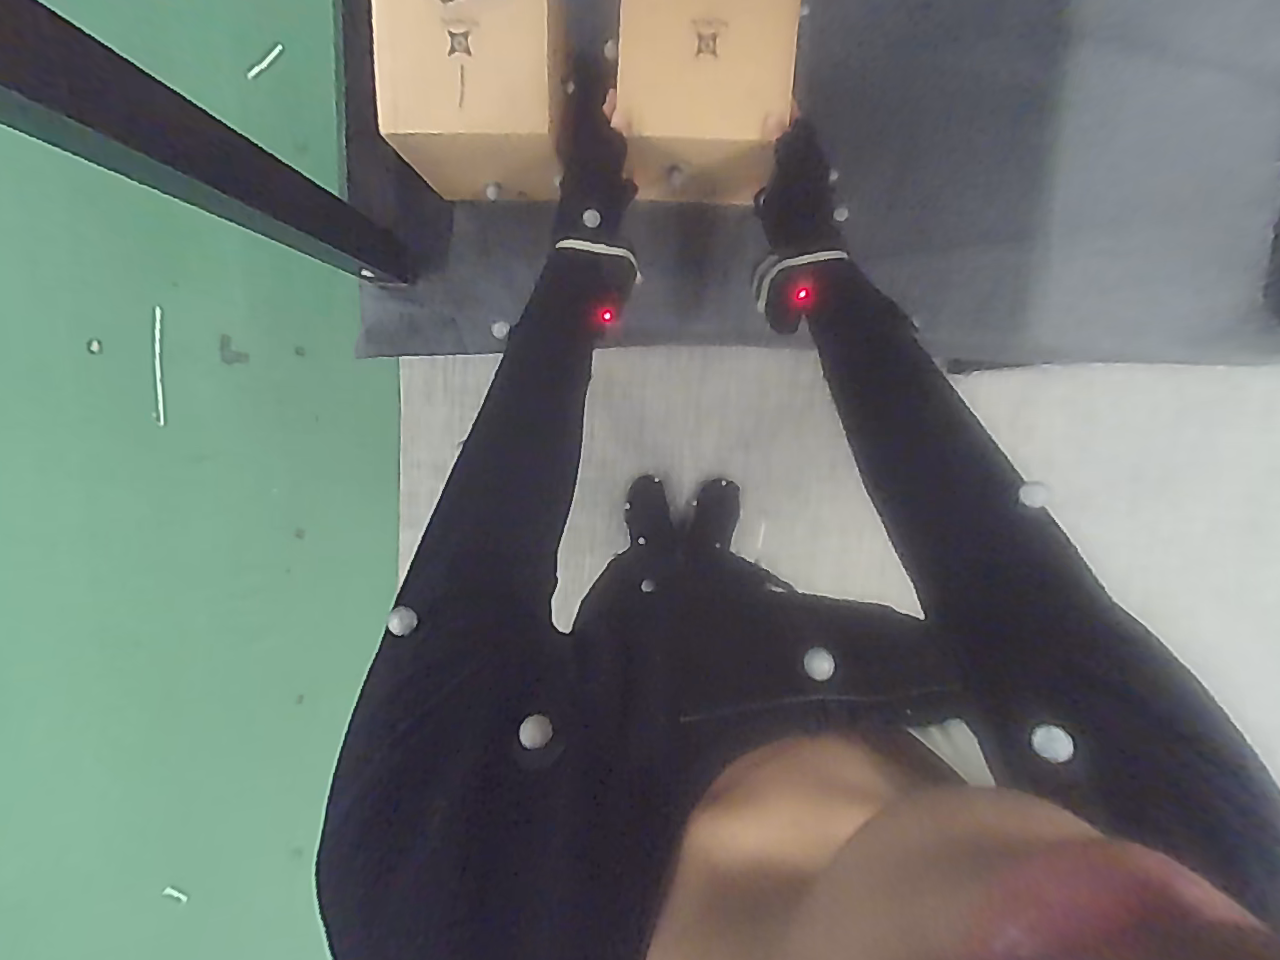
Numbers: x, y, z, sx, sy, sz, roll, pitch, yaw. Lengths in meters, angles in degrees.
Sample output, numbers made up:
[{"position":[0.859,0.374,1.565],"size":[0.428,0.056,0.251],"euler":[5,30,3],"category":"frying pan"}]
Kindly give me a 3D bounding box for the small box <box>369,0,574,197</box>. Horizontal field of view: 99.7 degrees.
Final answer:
[{"position":[-0.165,-0.427,0.575],"size":[0.168,0.176,0.179],"euler":[1,98,2],"category":"small box"}]

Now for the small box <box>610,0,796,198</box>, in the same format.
[{"position":[0.062,-0.420,0.571],"size":[0.168,0.176,0.179],"euler":[4,97,1],"category":"small box"}]
